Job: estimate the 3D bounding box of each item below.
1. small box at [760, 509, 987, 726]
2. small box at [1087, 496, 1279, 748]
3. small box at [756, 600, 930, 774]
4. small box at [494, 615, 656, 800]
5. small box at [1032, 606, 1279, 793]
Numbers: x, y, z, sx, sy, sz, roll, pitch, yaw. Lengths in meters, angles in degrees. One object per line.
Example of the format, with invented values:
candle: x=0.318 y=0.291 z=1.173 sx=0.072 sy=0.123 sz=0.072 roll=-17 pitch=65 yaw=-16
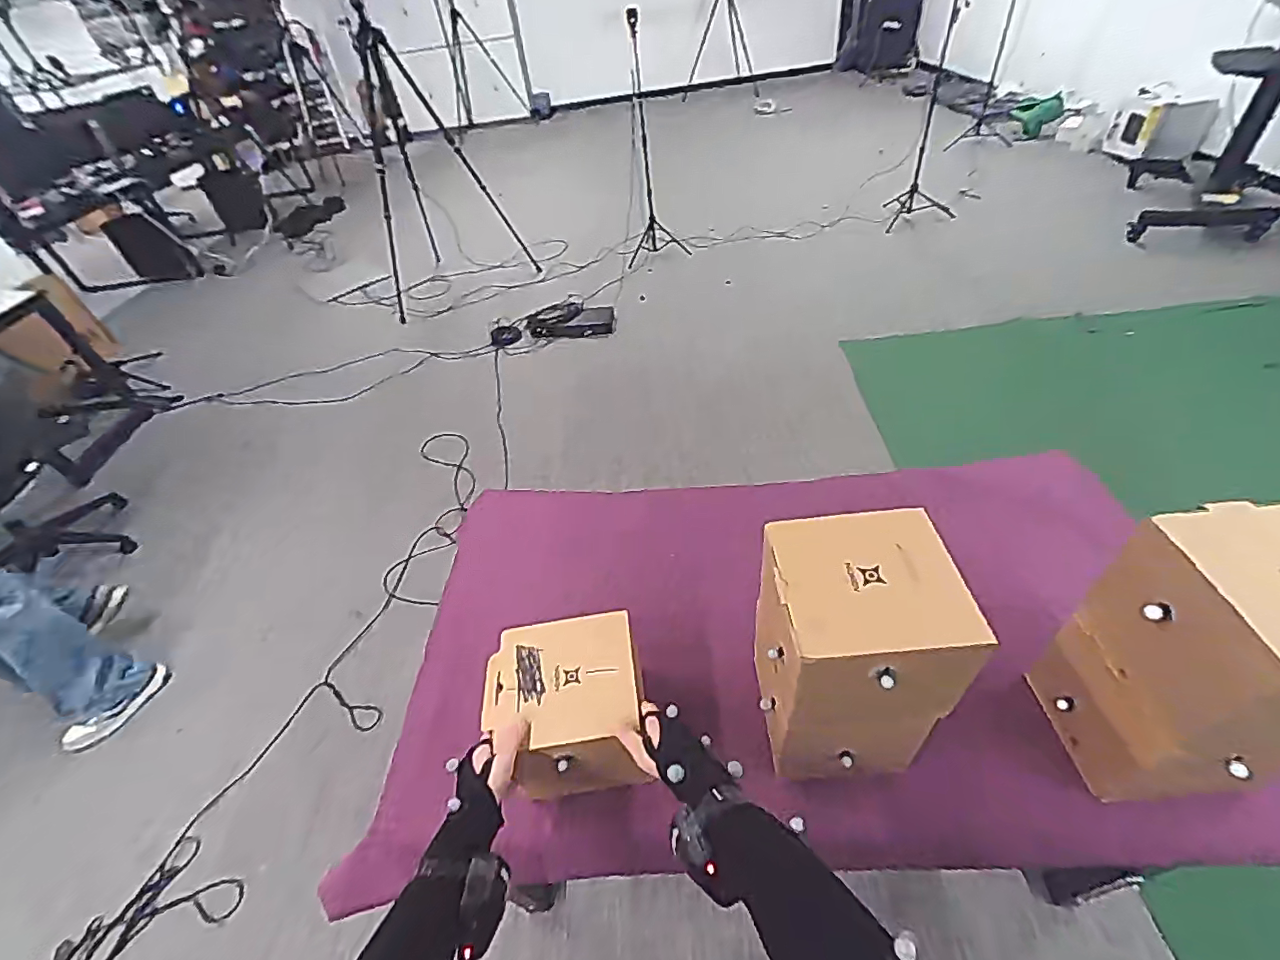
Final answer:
small box: x=0.233 y=0.155 z=0.595 sx=0.179 sy=0.176 sz=0.168 roll=-7 pitch=44 yaw=4
small box: x=0.604 y=0.139 z=0.537 sx=0.168 sy=0.176 sz=0.179 roll=-9 pitch=44 yaw=6
small box: x=0.250 y=0.269 z=0.711 sx=0.168 sy=0.176 sz=0.179 roll=-7 pitch=43 yaw=5
small box: x=-0.081 y=0.311 z=0.734 sx=0.179 sy=0.176 sz=0.168 roll=-10 pitch=43 yaw=0
small box: x=0.626 y=0.257 z=0.649 sx=0.179 sy=0.176 sz=0.168 roll=-9 pitch=45 yaw=5
